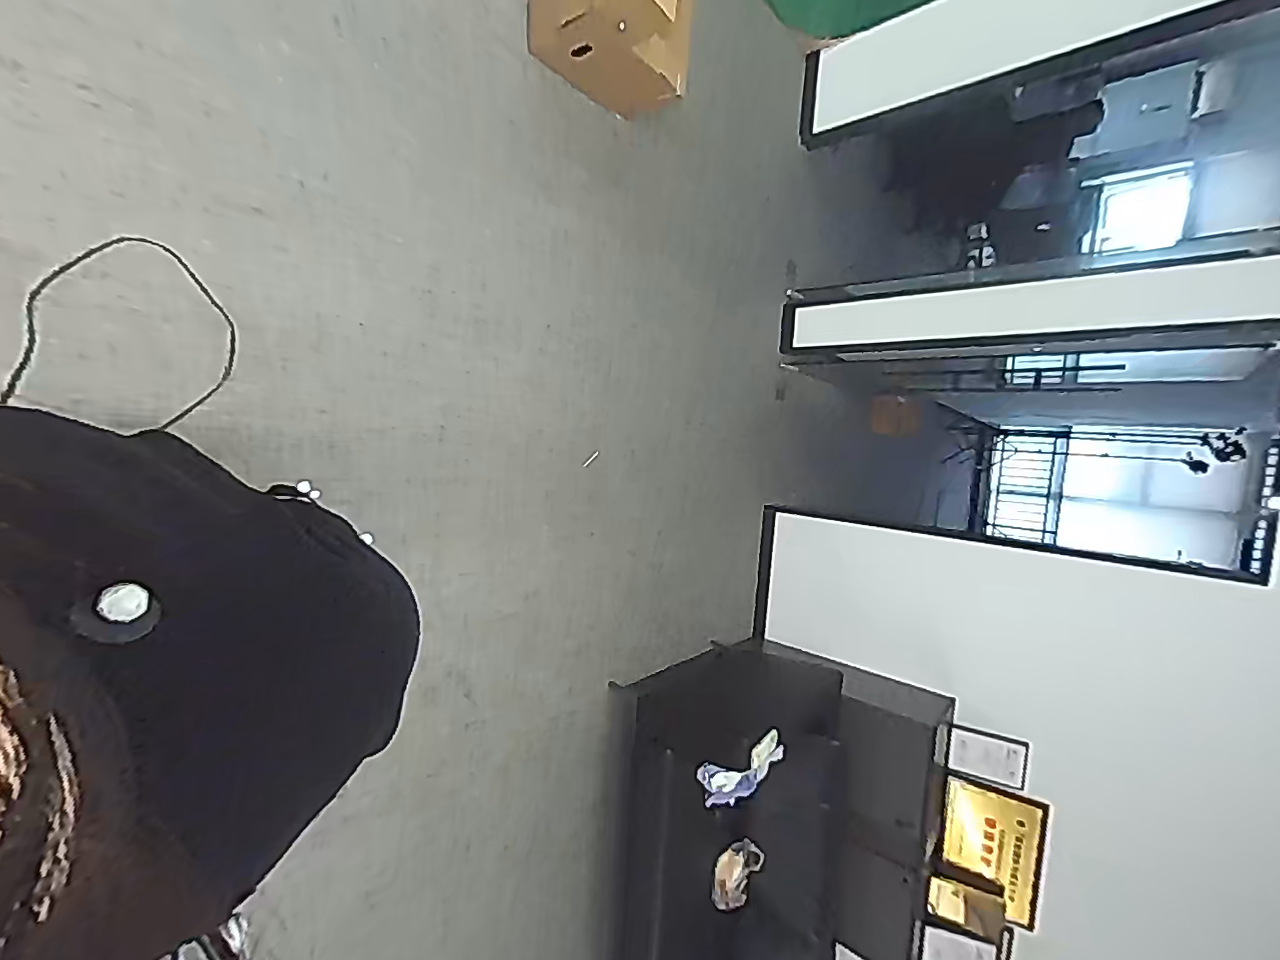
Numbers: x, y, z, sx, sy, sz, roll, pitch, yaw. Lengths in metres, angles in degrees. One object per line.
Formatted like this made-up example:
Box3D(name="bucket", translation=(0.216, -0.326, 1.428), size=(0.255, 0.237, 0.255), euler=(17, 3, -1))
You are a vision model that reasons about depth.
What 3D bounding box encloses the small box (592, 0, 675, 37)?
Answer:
Box3D(name="small box", translation=(-0.014, -1.401, 1.524), size=(0.179, 0.176, 0.168), euler=(1, 96, -51))
